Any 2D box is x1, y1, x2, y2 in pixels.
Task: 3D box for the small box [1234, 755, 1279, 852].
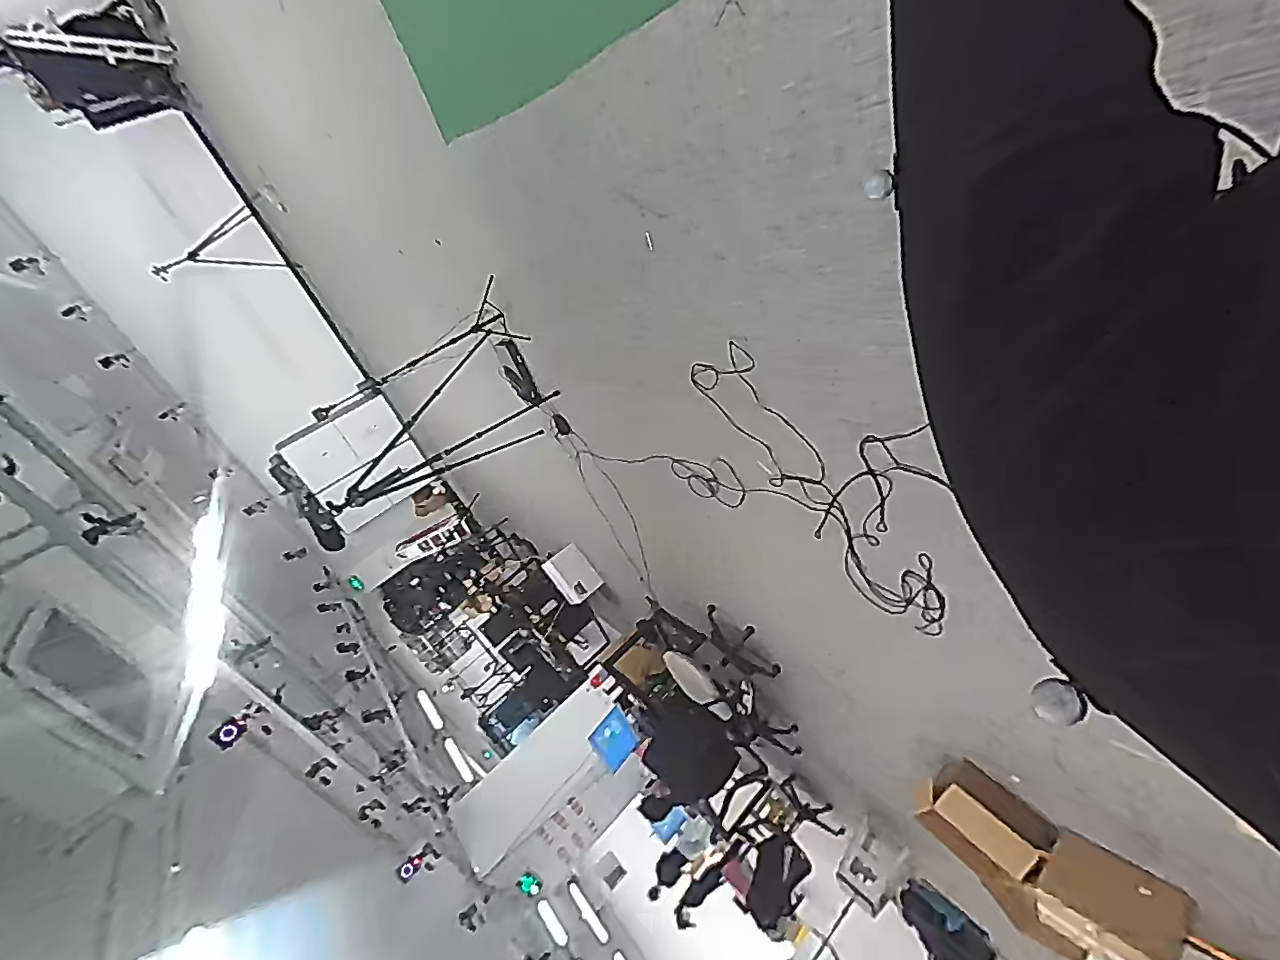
[{"bbox_3d":[1.775,0.905,1.477,0.168,0.176,0.179,15,137,53],"label":"small box"}]
